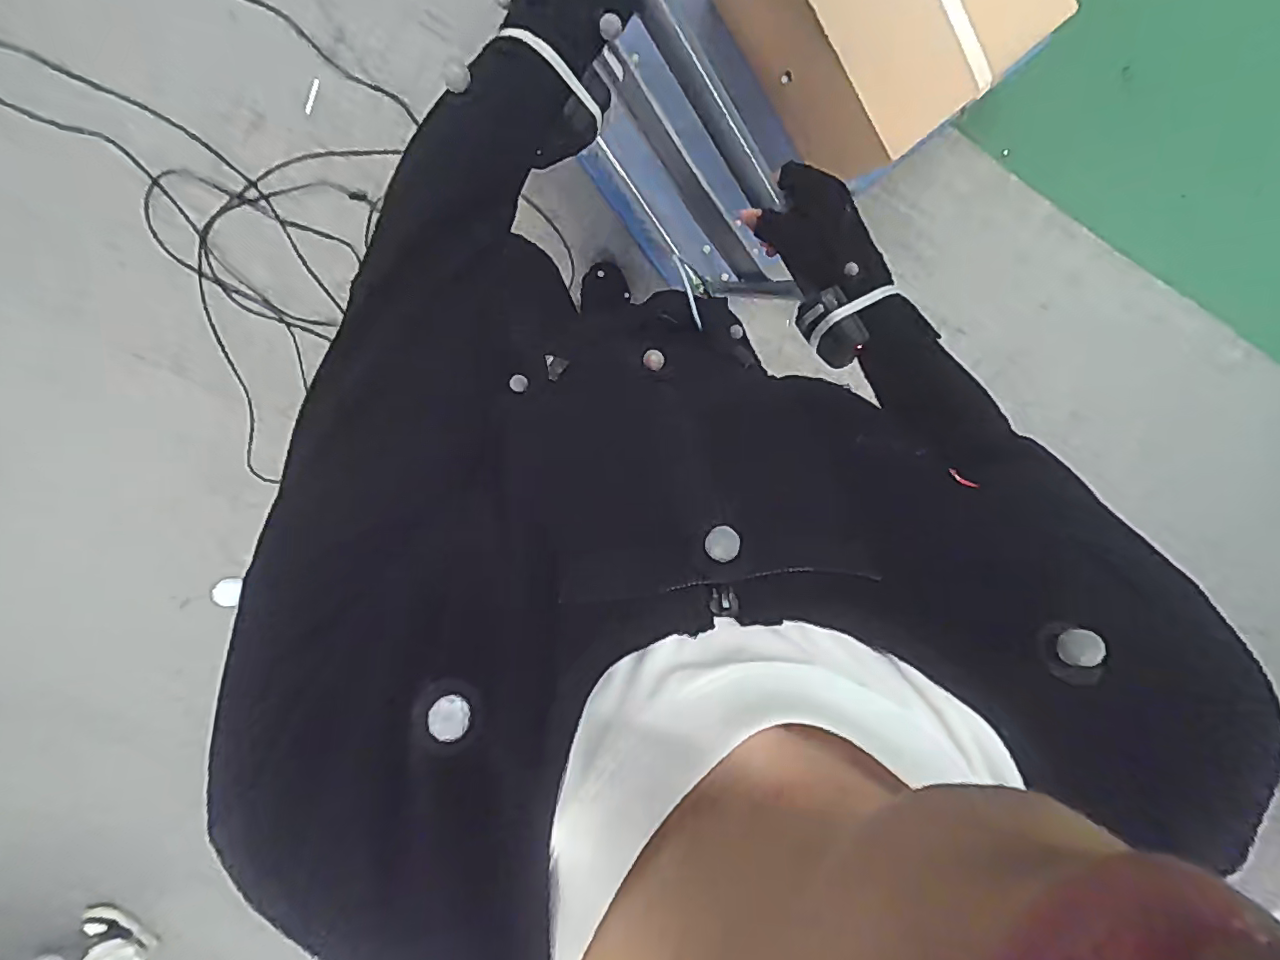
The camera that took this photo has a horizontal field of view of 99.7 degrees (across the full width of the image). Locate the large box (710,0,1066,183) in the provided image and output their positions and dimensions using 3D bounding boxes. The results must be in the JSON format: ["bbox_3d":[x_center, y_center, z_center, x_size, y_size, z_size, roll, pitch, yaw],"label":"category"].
[{"bbox_3d":[0.373,-0.786,0.892,0.320,0.320,0.408,-38,109,10],"label":"large box"}]
